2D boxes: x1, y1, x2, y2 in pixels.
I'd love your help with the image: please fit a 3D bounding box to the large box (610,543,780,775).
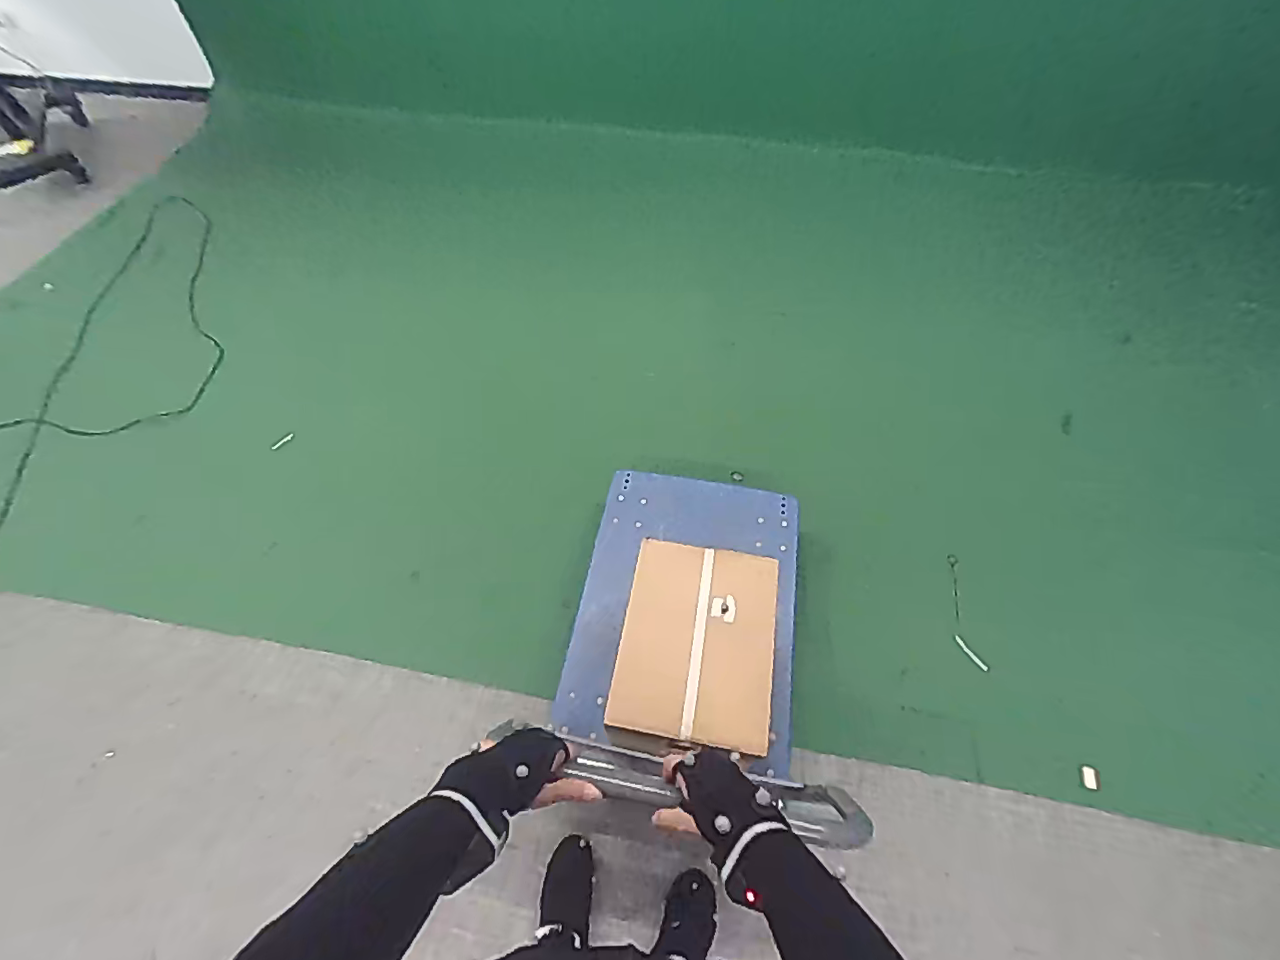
[{"bbox_3d":[0.129,0.408,1.226,0.320,0.320,0.408,9,57,6],"label":"large box"}]
